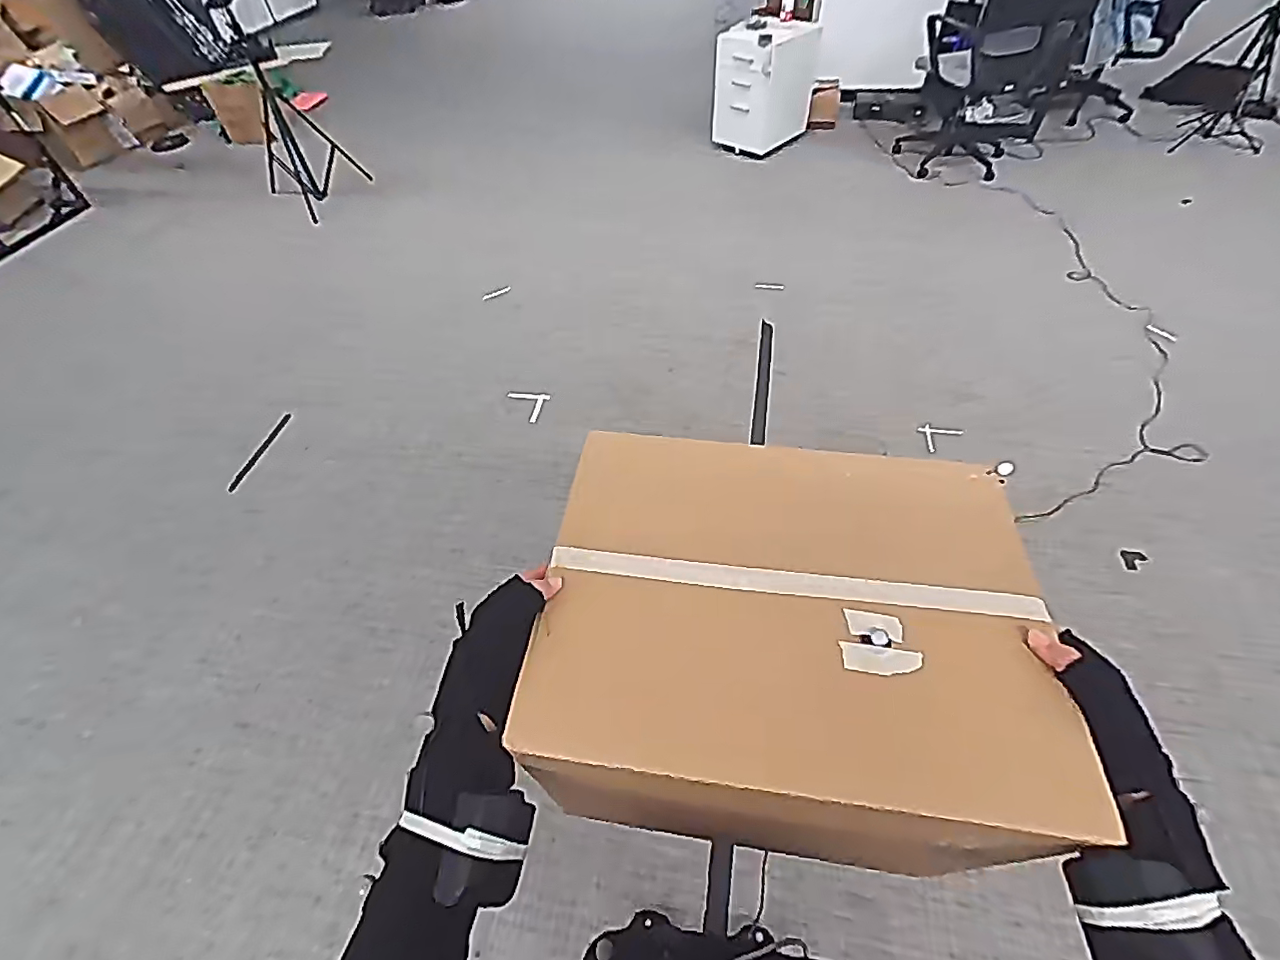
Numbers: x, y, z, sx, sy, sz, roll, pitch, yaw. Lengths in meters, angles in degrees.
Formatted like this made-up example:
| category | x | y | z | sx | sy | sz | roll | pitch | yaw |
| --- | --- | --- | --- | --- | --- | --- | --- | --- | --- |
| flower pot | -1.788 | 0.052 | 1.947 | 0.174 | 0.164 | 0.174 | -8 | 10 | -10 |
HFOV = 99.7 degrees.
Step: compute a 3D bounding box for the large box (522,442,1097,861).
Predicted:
| category | x | y | z | sx | sy | sz | roll | pitch | yaw |
| --- | --- | --- | --- | --- | --- | --- | --- | --- | --- |
| large box | 0.129 | 0.186 | 0.582 | 0.408 | 0.320 | 0.320 | 5 | 52 | 6 |
